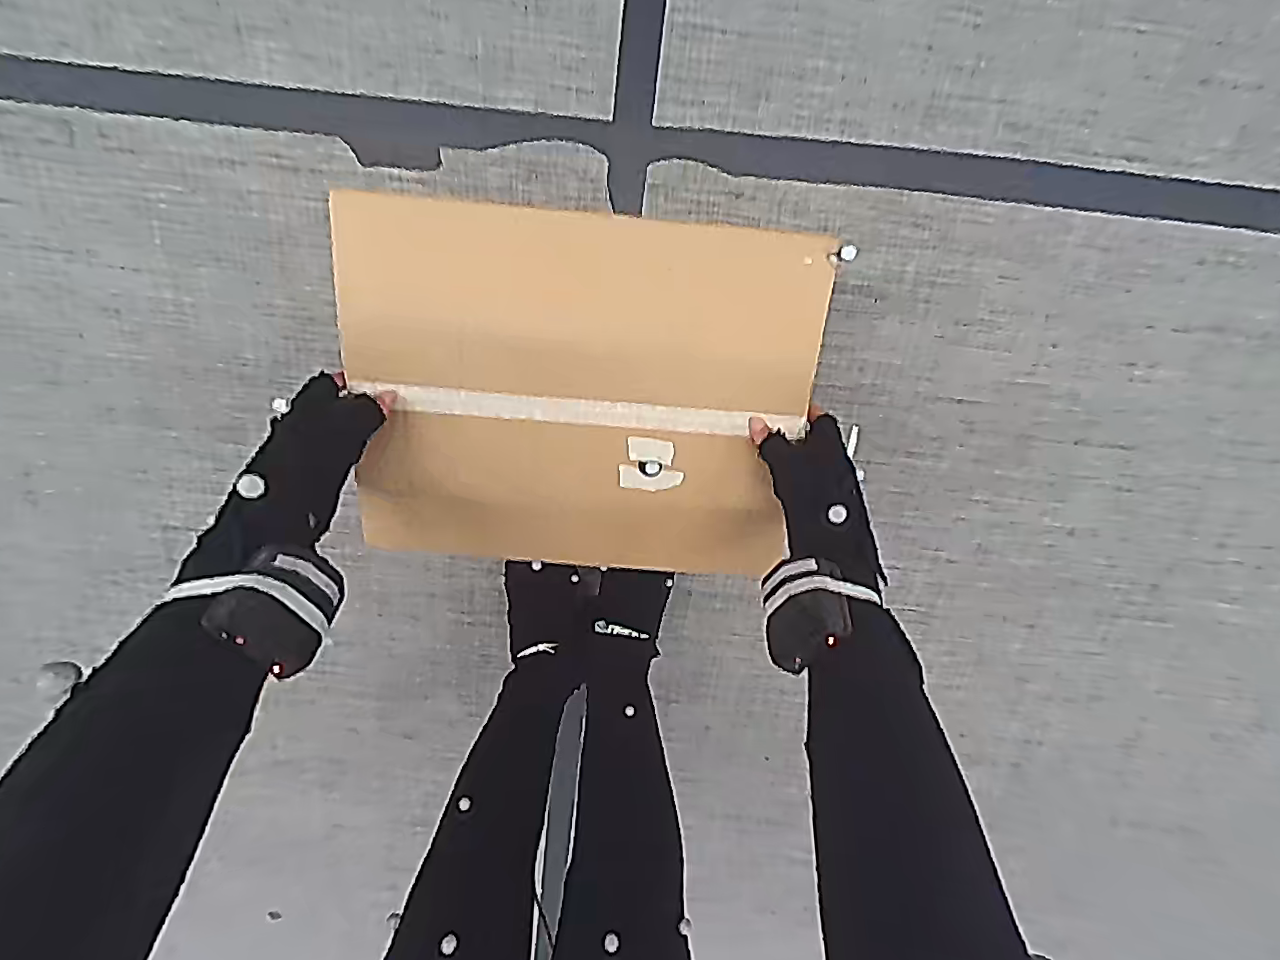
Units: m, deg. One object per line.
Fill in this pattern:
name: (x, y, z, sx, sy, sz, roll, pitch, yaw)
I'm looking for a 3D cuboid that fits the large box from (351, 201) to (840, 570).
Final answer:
large box: (-0.047, -0.113, 0.623, 0.408, 0.320, 0.320, 4, 110, -3)
